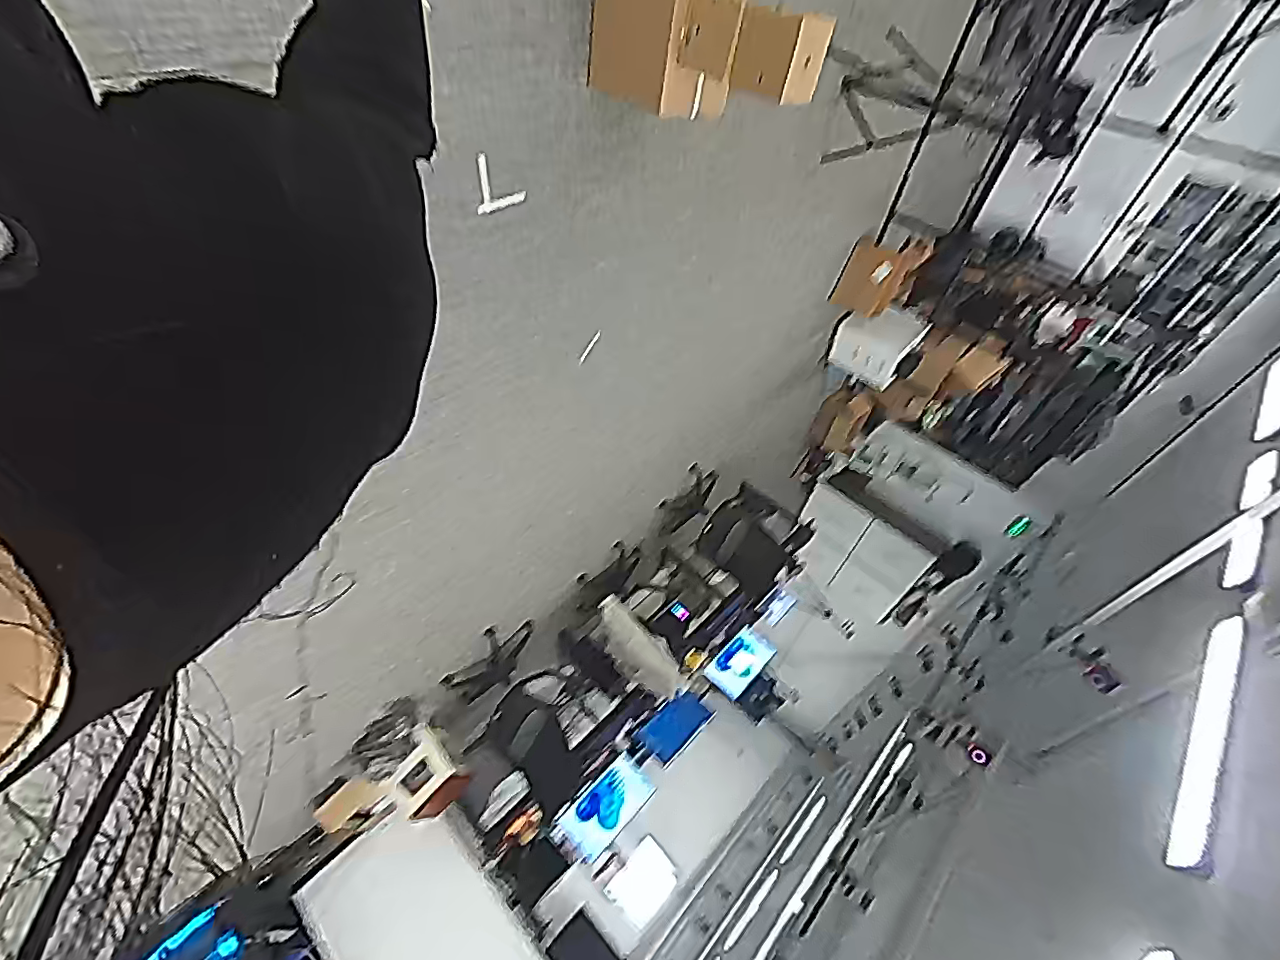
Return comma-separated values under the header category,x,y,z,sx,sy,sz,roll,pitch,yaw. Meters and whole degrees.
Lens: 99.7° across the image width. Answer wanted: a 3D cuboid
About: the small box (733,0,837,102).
category,x,y,z,sx,sy,sz,roll,pitch,yaw
small box,0.361,-1.091,1.378,0.168,0.176,0.179,-34,149,-35
